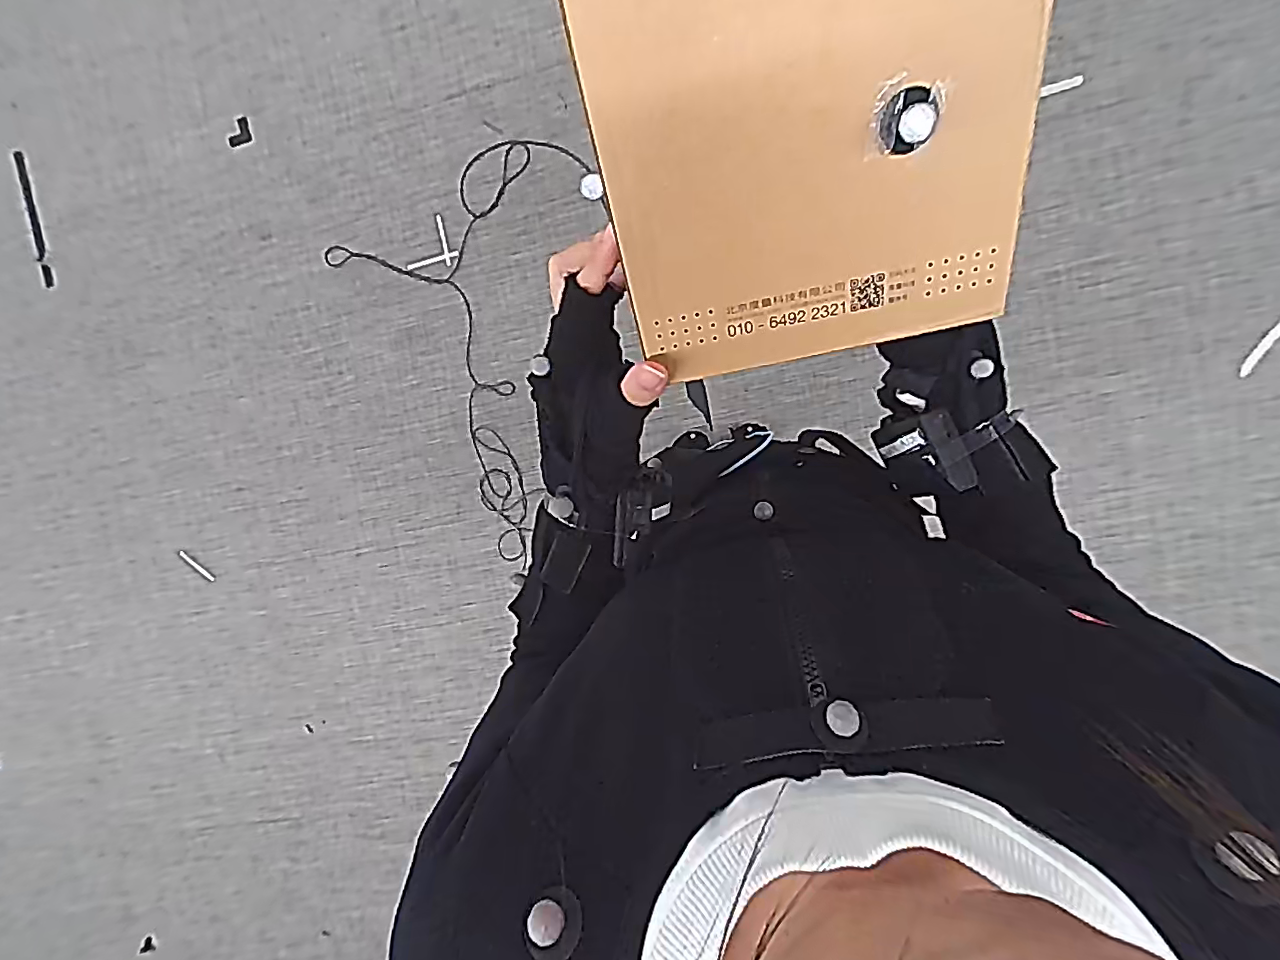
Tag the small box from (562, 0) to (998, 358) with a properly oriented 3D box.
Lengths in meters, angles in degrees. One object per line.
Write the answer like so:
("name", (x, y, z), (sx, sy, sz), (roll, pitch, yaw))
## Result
("small box", (0.071, -0.179, 0.298), (0.168, 0.179, 0.176), (-9, 125, 9))
